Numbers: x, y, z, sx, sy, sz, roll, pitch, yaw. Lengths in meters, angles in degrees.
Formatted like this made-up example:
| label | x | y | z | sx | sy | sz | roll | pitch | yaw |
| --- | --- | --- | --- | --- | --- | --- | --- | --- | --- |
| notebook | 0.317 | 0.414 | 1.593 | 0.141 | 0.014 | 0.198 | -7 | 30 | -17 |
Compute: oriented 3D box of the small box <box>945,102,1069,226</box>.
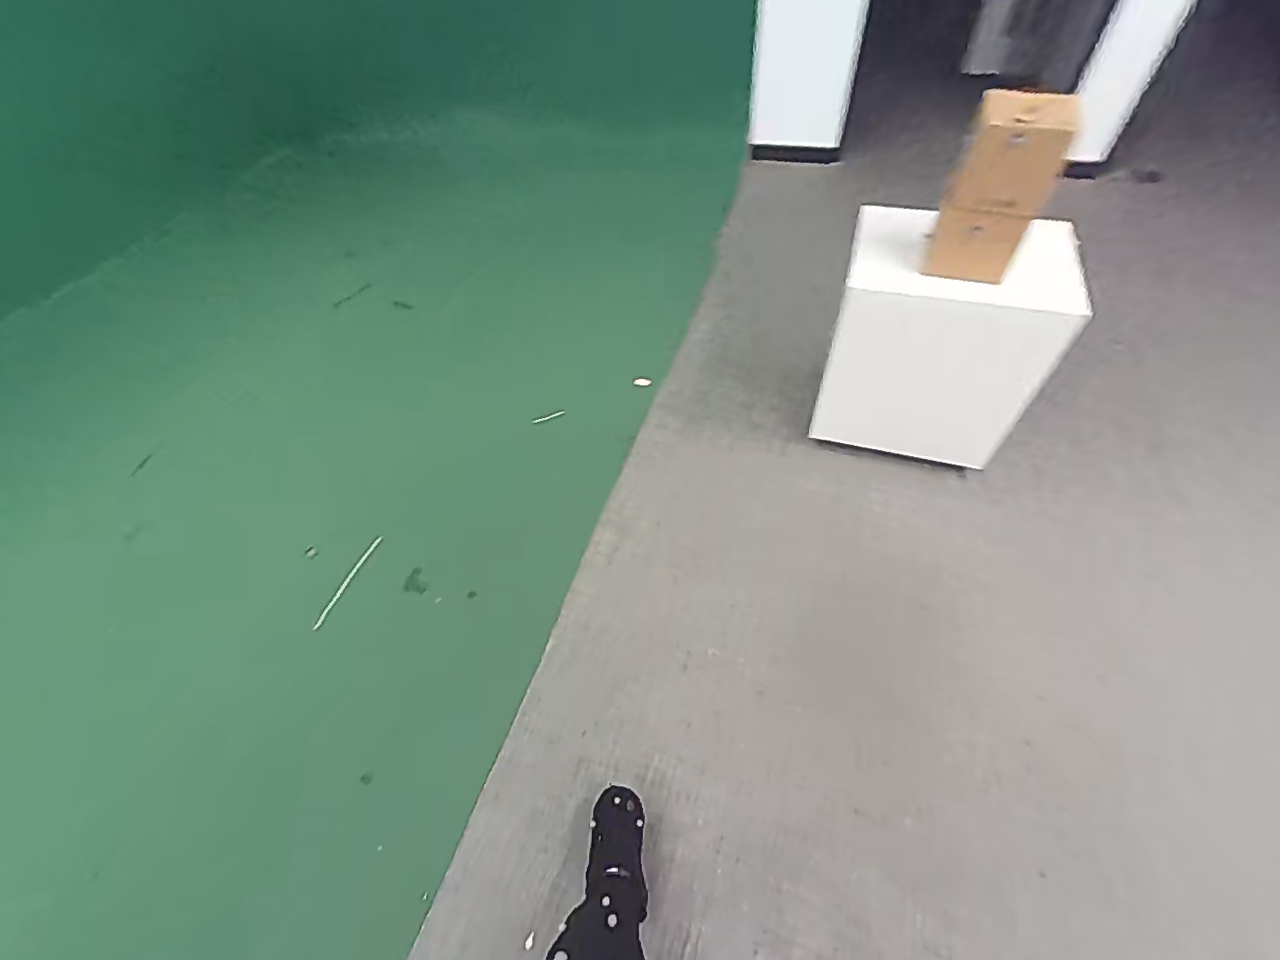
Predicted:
| label | x | y | z | sx | sy | sz | roll | pitch | yaw |
| --- | --- | --- | --- | --- | --- | --- | --- | --- | --- |
| small box | 0.772 | -0.676 | 1.158 | 0.168 | 0.176 | 0.179 | 14 | 56 | 13 |

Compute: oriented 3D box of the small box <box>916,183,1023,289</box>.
| label | x | y | z | sx | sy | sz | roll | pitch | yaw |
| --- | --- | --- | --- | --- | --- | --- | --- | --- | --- |
| small box | 0.776 | -0.578 | 1.286 | 0.179 | 0.176 | 0.168 | 14 | 56 | 15 |
